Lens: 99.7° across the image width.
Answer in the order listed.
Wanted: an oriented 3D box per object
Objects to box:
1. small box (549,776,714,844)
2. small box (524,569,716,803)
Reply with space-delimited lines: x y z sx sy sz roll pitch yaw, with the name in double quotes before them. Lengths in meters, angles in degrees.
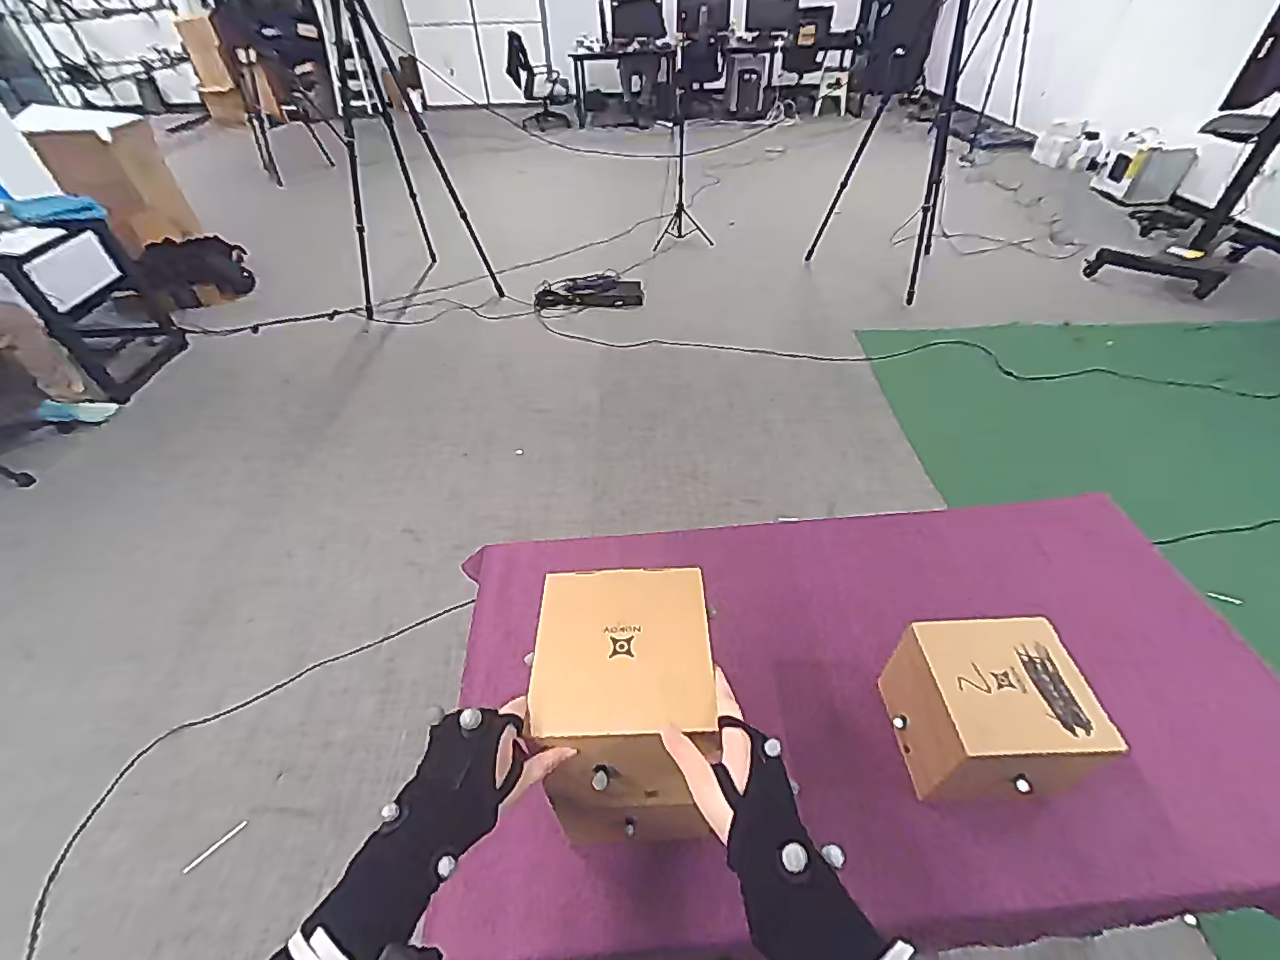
"small box" -0.009 0.336 0.675 0.179 0.176 0.168 -3 43 0
"small box" -0.012 0.216 0.560 0.168 0.176 0.179 -2 40 1
